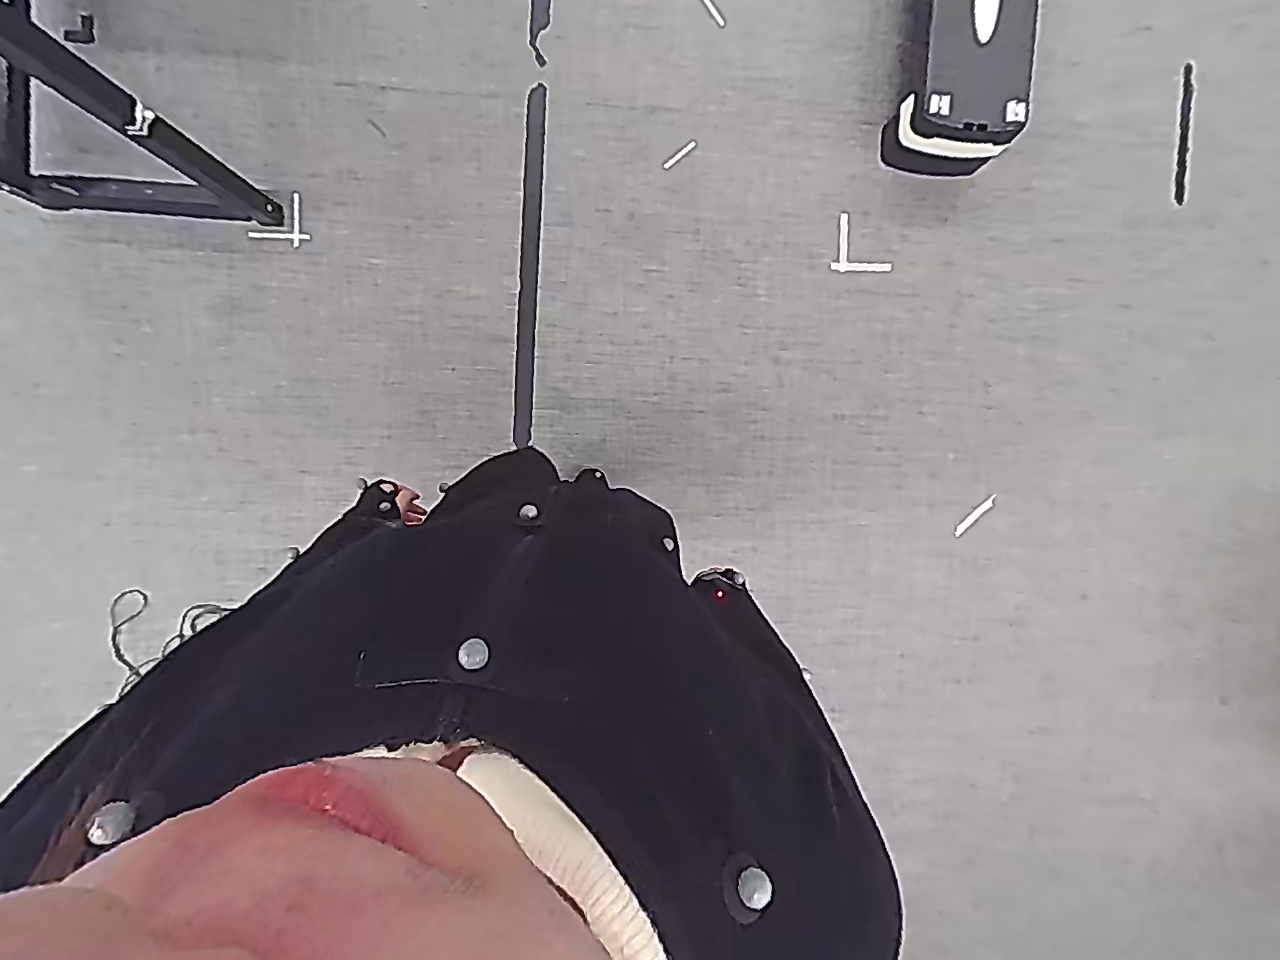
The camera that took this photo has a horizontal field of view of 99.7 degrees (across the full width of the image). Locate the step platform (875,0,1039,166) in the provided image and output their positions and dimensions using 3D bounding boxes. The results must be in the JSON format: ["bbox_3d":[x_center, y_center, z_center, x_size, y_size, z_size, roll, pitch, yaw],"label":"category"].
[{"bbox_3d":[0.831,-1.207,1.383,0.286,0.204,0.684,8,92,-4],"label":"step platform"}]
